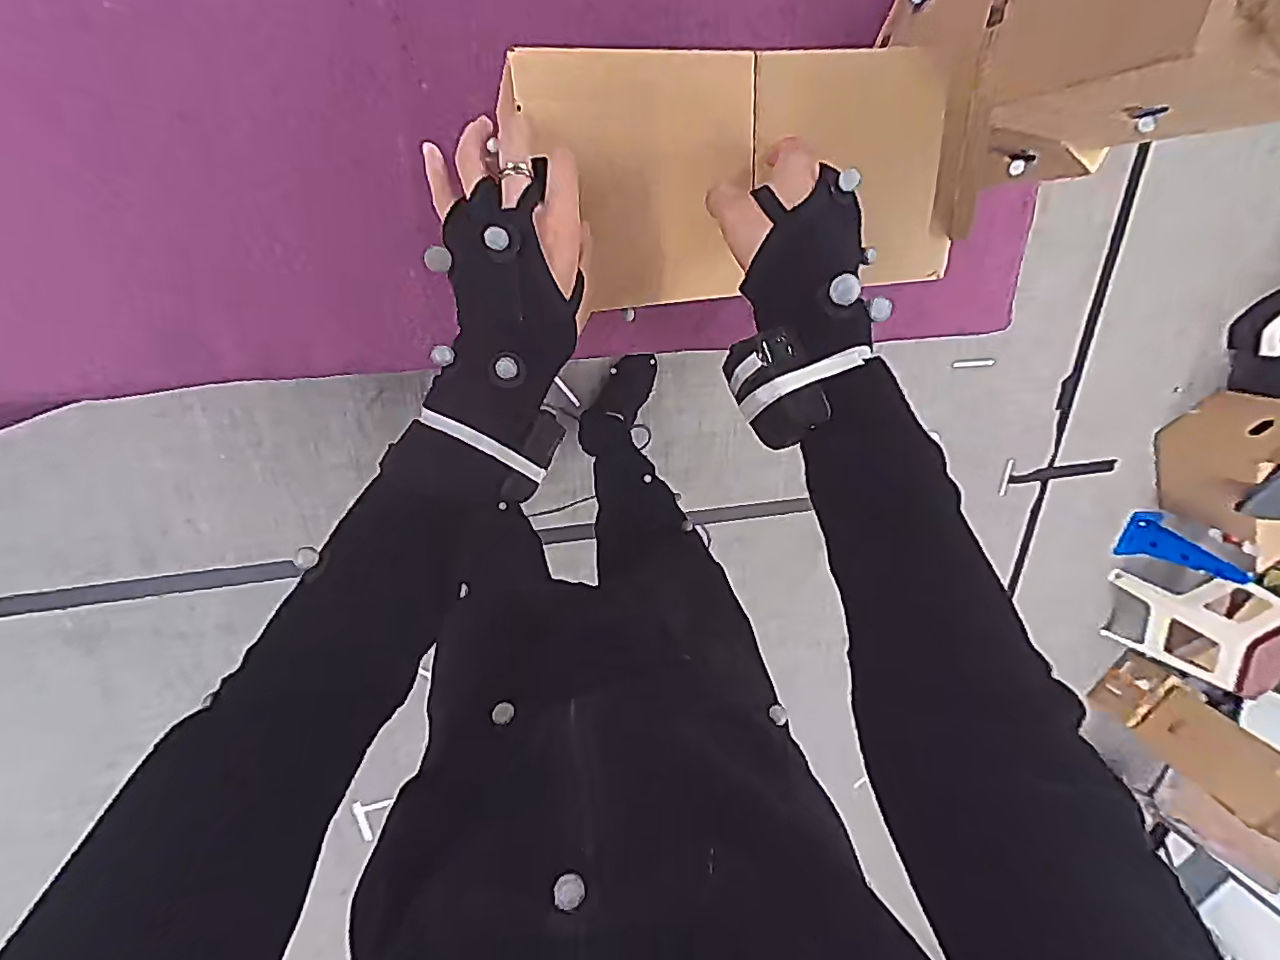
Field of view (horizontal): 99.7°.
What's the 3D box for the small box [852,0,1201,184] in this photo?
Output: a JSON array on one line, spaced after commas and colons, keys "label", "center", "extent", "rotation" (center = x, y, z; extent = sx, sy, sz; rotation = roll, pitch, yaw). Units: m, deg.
[{"label": "small box", "center": [0.343, -0.399, 0.503], "extent": [0.179, 0.176, 0.168], "rotation": [19, 105, -23]}]
